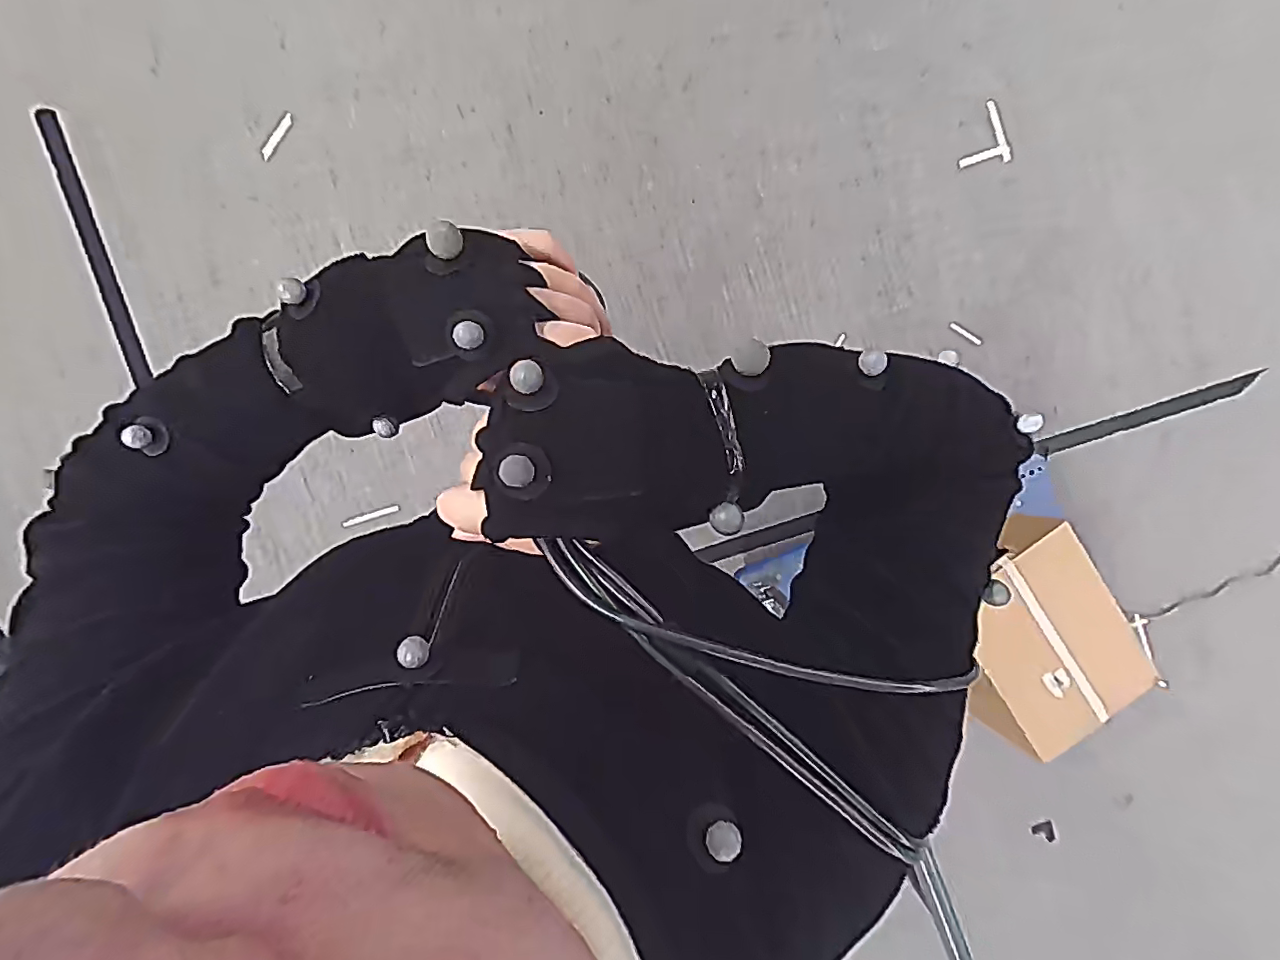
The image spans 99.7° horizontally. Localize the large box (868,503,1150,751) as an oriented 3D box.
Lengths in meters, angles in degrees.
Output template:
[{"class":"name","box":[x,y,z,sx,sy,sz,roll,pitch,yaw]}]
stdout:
[{"class":"large box","box":[0.821,0.309,1.254,0.320,0.320,0.408,-34,95,-2]}]
